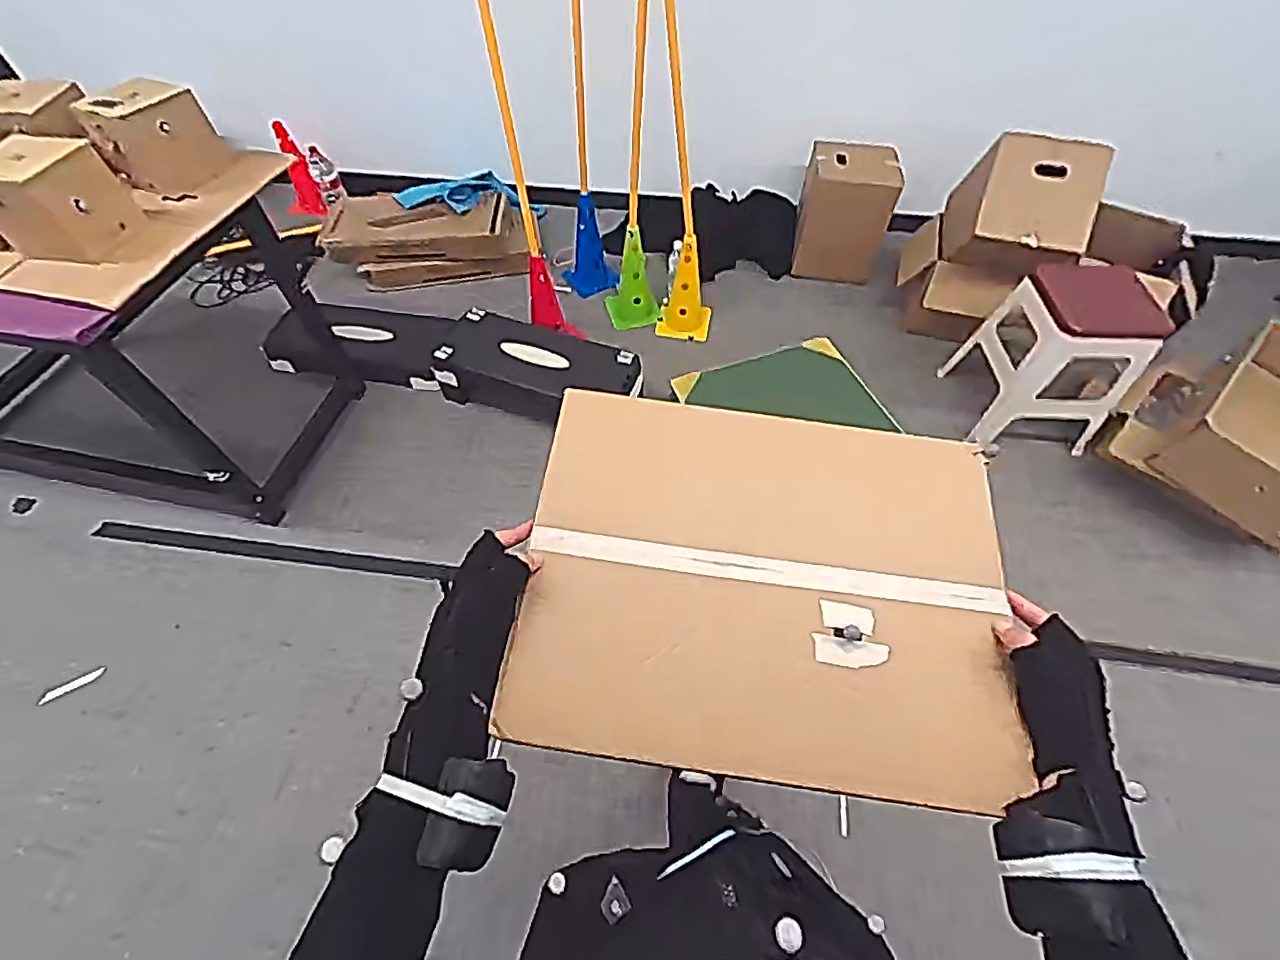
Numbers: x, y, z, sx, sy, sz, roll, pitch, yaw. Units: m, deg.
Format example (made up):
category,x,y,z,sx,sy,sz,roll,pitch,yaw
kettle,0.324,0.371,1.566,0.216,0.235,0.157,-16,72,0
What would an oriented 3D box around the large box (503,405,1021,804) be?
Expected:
category,x,y,z,sx,sy,sz,roll,pitch,yaw
large box,0.100,0.148,0.604,0.408,0.320,0.320,8,65,1
